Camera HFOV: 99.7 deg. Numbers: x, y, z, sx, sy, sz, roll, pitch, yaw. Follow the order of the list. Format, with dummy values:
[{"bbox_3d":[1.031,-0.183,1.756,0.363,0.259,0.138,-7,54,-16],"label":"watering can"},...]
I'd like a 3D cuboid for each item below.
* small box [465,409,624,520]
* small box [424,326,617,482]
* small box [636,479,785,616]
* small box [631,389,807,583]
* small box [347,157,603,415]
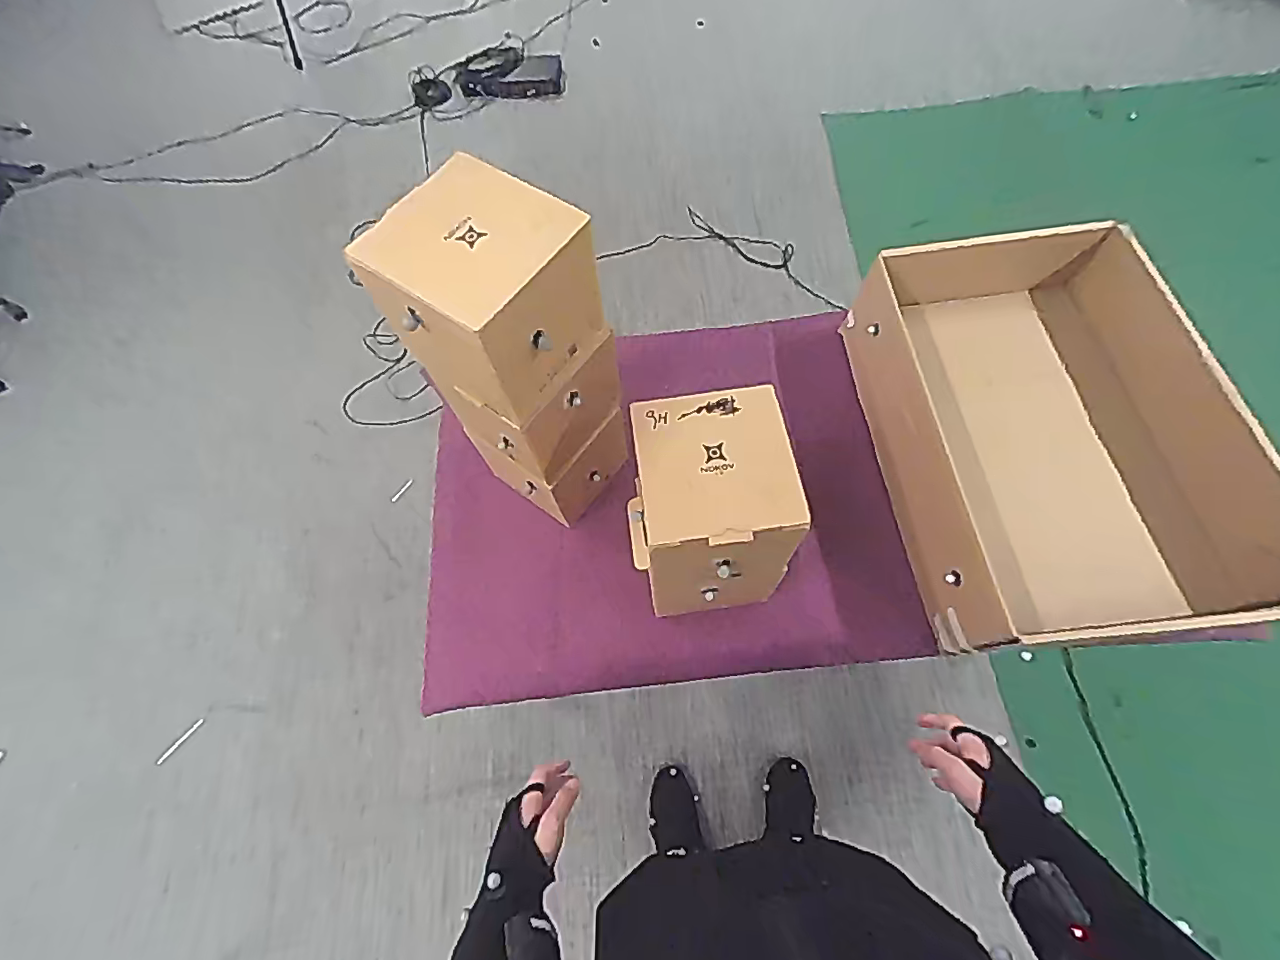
[{"bbox_3d":[-0.140,-0.054,0.874,0.179,0.176,0.168,33,71,17],"label":"small box"},{"bbox_3d":[-0.143,-0.126,0.728,0.168,0.176,0.179,34,71,16],"label":"small box"},{"bbox_3d":[0.095,0.094,0.791,0.179,0.176,0.168,-8,64,-1],"label":"small box"},{"bbox_3d":[0.084,0.018,0.646,0.168,0.176,0.179,-7,65,0],"label":"small box"},{"bbox_3d":[-0.156,-0.194,0.582,0.179,0.176,0.168,32,72,16],"label":"small box"}]
